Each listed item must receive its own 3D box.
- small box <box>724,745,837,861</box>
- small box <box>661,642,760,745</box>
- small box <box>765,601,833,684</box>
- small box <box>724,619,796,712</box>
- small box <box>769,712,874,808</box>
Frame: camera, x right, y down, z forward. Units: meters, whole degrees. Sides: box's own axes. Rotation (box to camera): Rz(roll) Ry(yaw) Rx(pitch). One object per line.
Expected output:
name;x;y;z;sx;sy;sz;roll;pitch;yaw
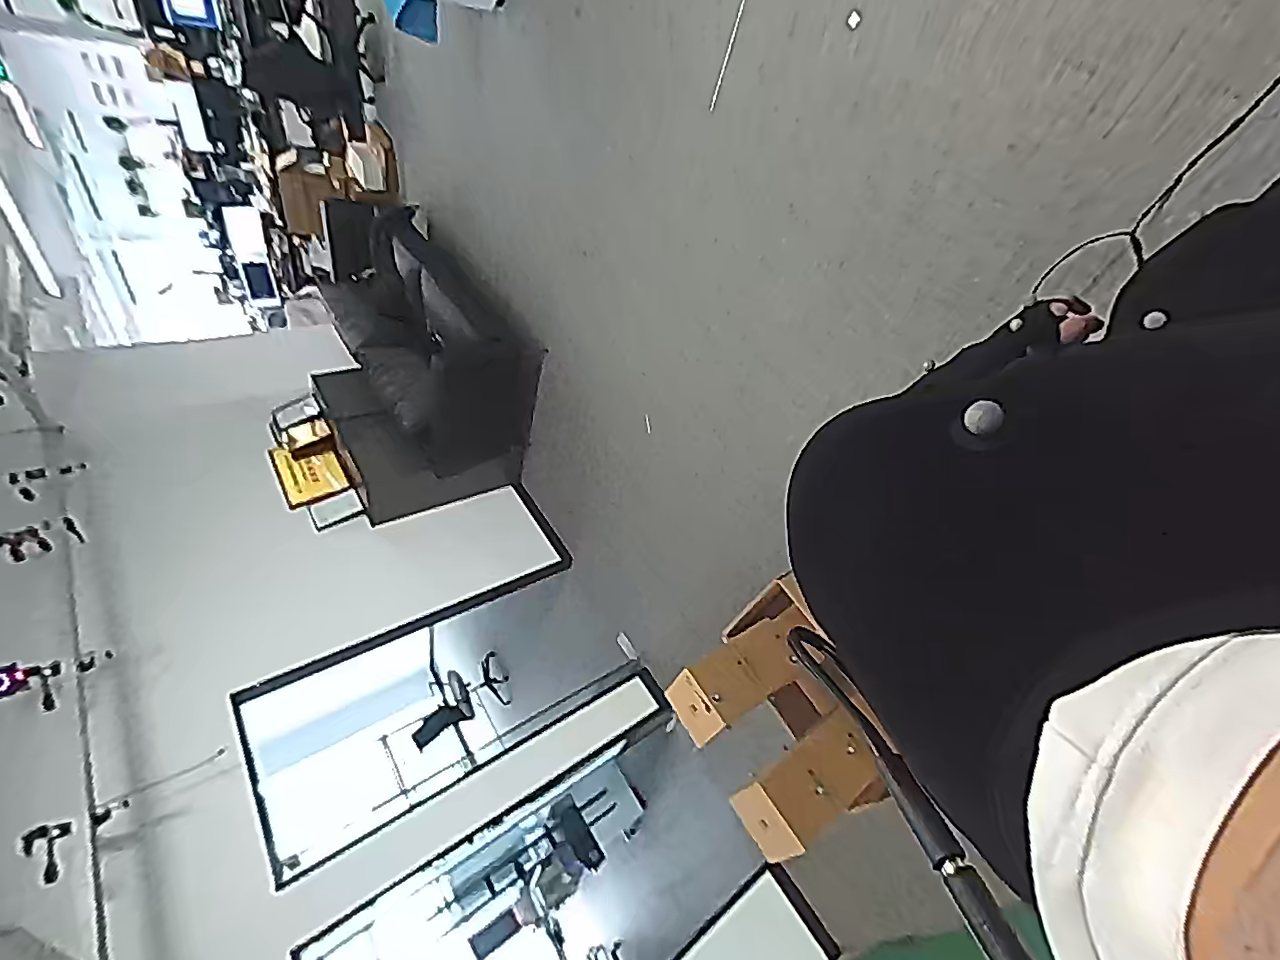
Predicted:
small box;0.344;0.784;1.319;0.168;0.176;0.179;52;141;25
small box;0.187;0.563;1.435;0.168;0.176;0.179;52;140;26
small box;0.443;0.493;1.628;0.168;0.176;0.179;56;141;23
small box;0.313;0.524;1.533;0.168;0.176;0.179;52;141;27
small box;0.471;0.744;1.413;0.168;0.176;0.179;52;140;26
